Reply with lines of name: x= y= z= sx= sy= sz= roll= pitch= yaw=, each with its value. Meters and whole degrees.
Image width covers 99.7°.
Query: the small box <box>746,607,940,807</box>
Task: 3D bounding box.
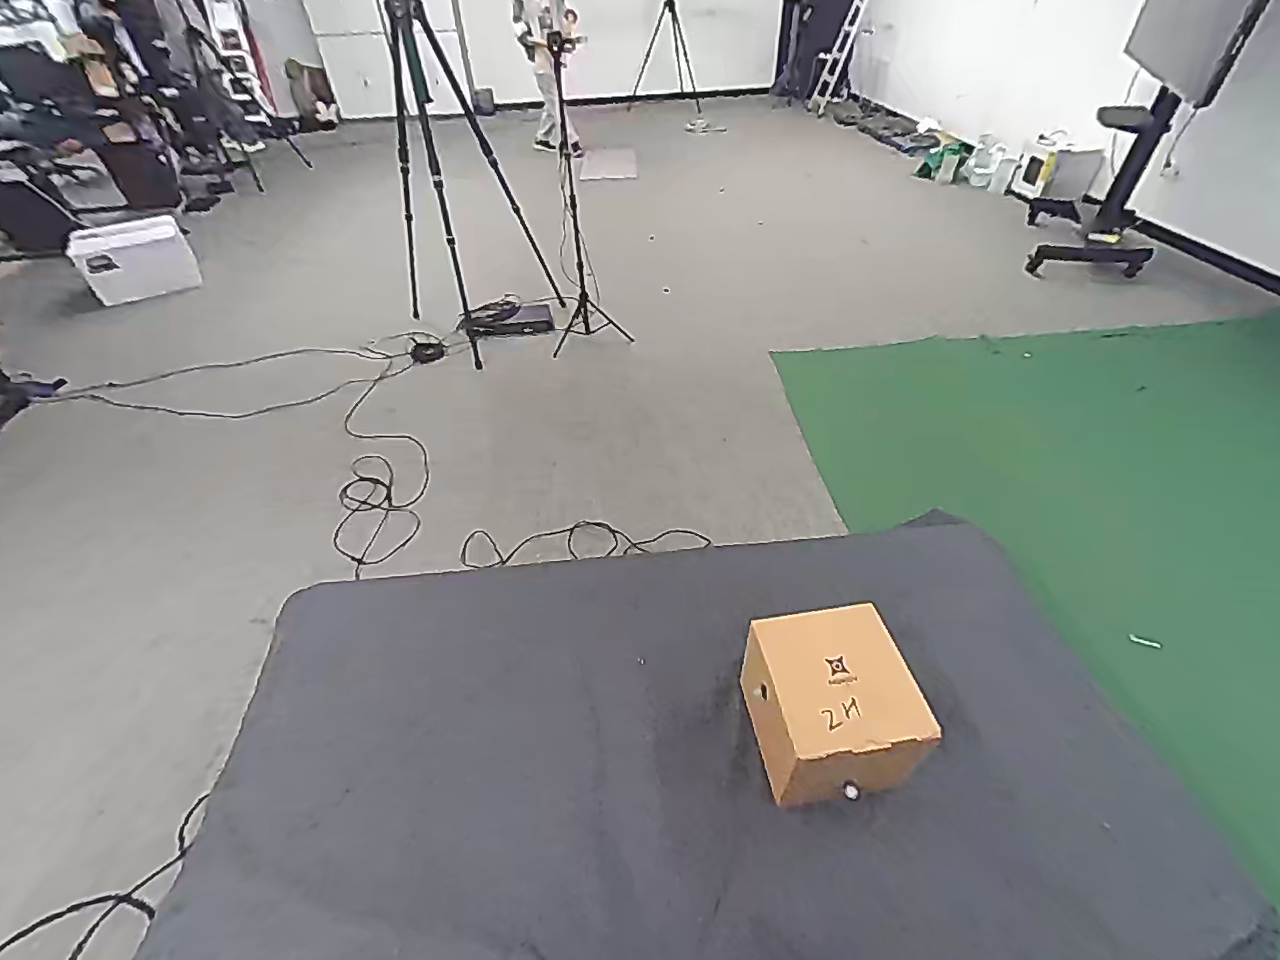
small box: x=0.242 y=0.294 z=0.703 sx=0.168 sy=0.176 sz=0.179 roll=-7 pitch=44 yaw=-3
